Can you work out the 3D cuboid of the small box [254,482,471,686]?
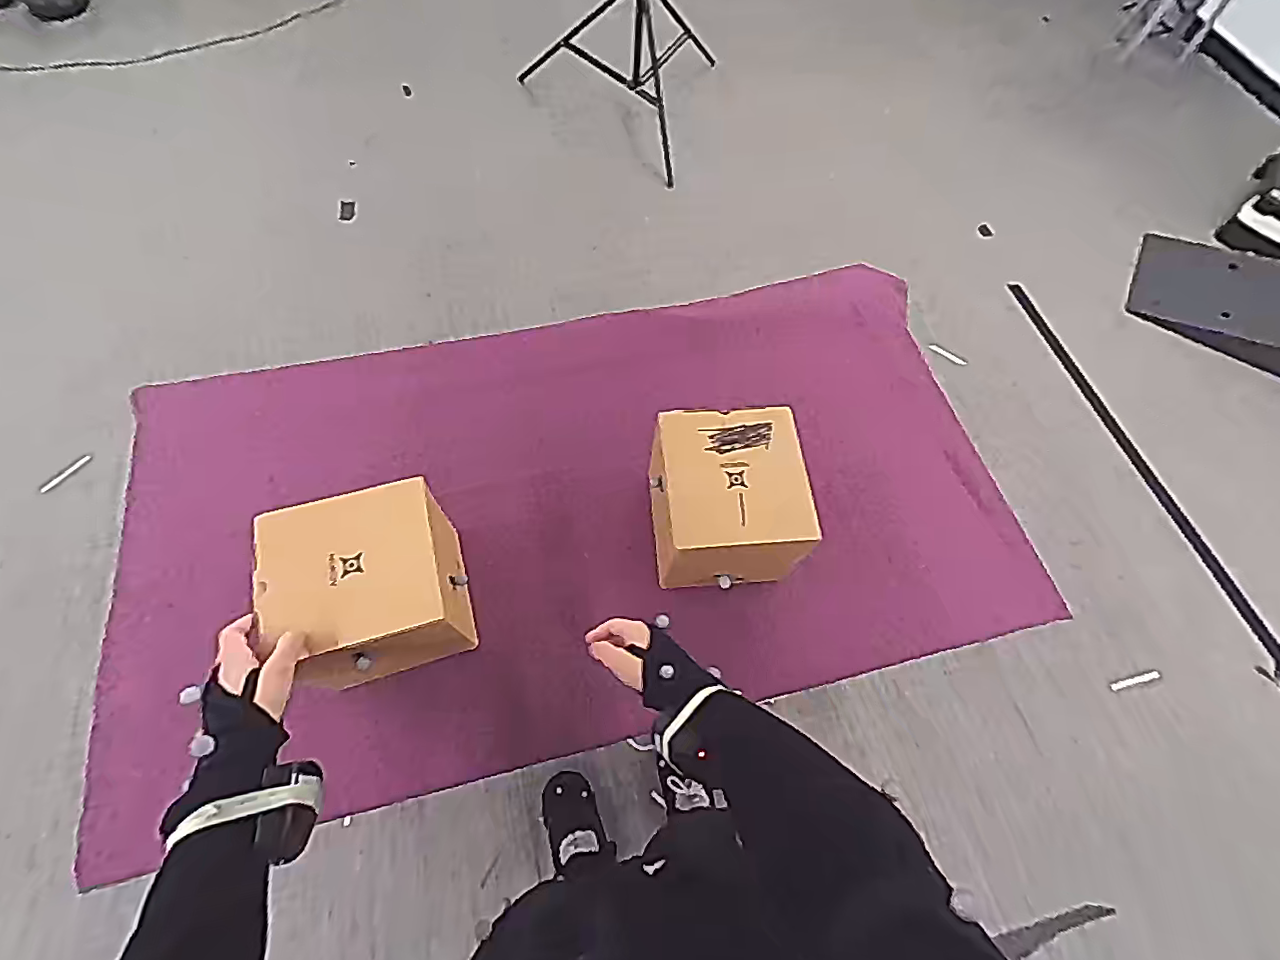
[{"bbox_3d":[-0.305,0.126,0.625,0.179,0.176,0.168,-15,66,-11],"label":"small box"}]

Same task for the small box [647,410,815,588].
[{"bbox_3d":[0.101,0.029,0.696,0.168,0.176,0.179,-3,65,-5],"label":"small box"}]
